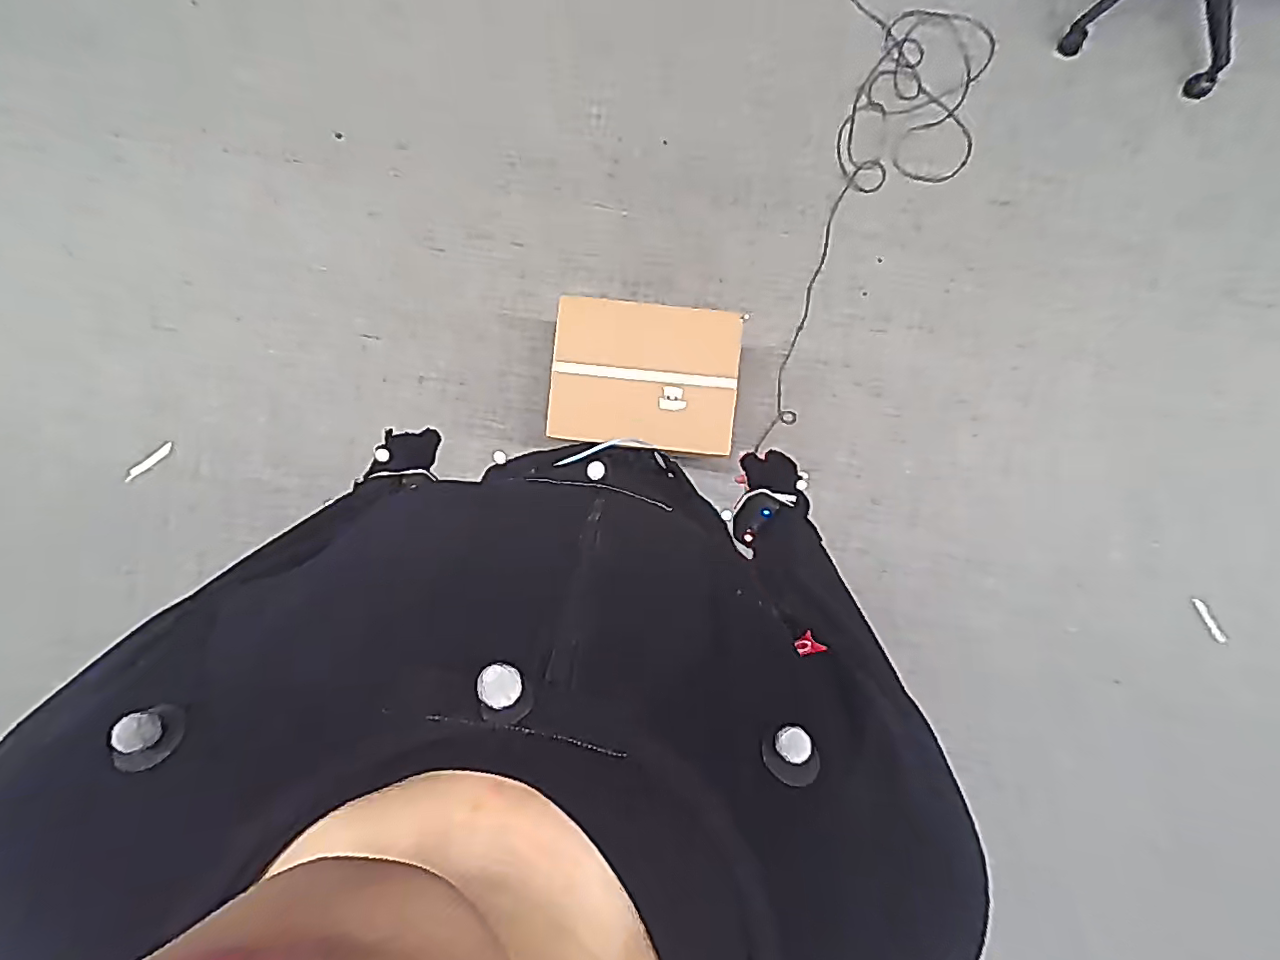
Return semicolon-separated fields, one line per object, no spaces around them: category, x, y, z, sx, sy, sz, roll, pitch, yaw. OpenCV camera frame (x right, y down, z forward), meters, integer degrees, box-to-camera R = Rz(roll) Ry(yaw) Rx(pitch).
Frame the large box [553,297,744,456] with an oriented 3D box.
large box;0.018;-0.234;1.333;0.408;0.320;0.320;6;91;0
